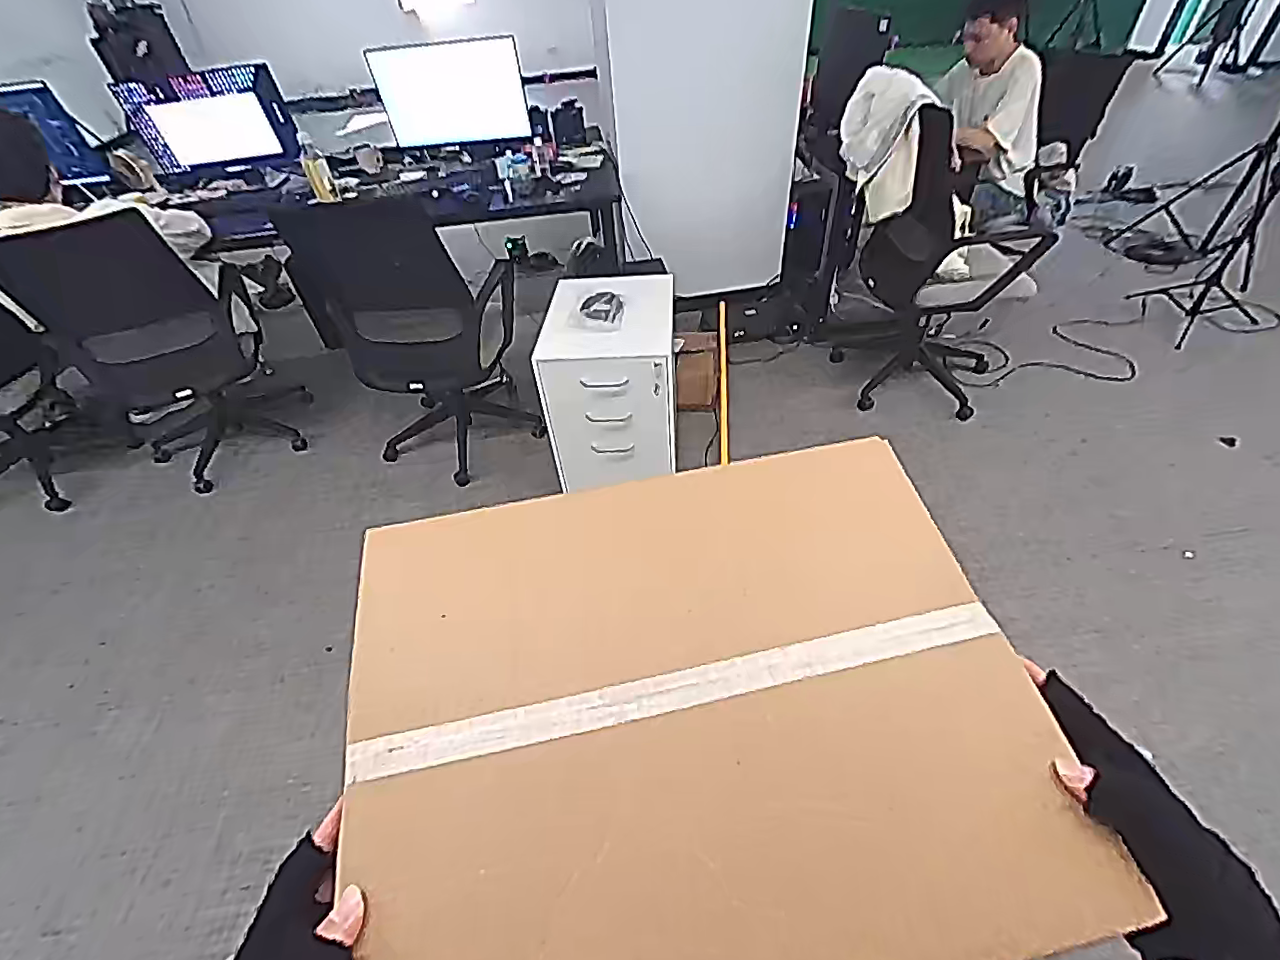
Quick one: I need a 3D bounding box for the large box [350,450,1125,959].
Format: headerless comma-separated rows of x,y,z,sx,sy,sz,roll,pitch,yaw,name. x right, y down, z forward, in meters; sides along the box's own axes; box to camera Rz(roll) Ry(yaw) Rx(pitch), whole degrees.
0.034,0.218,0.462,0.408,0.320,0.320,-11,56,-5,large box
